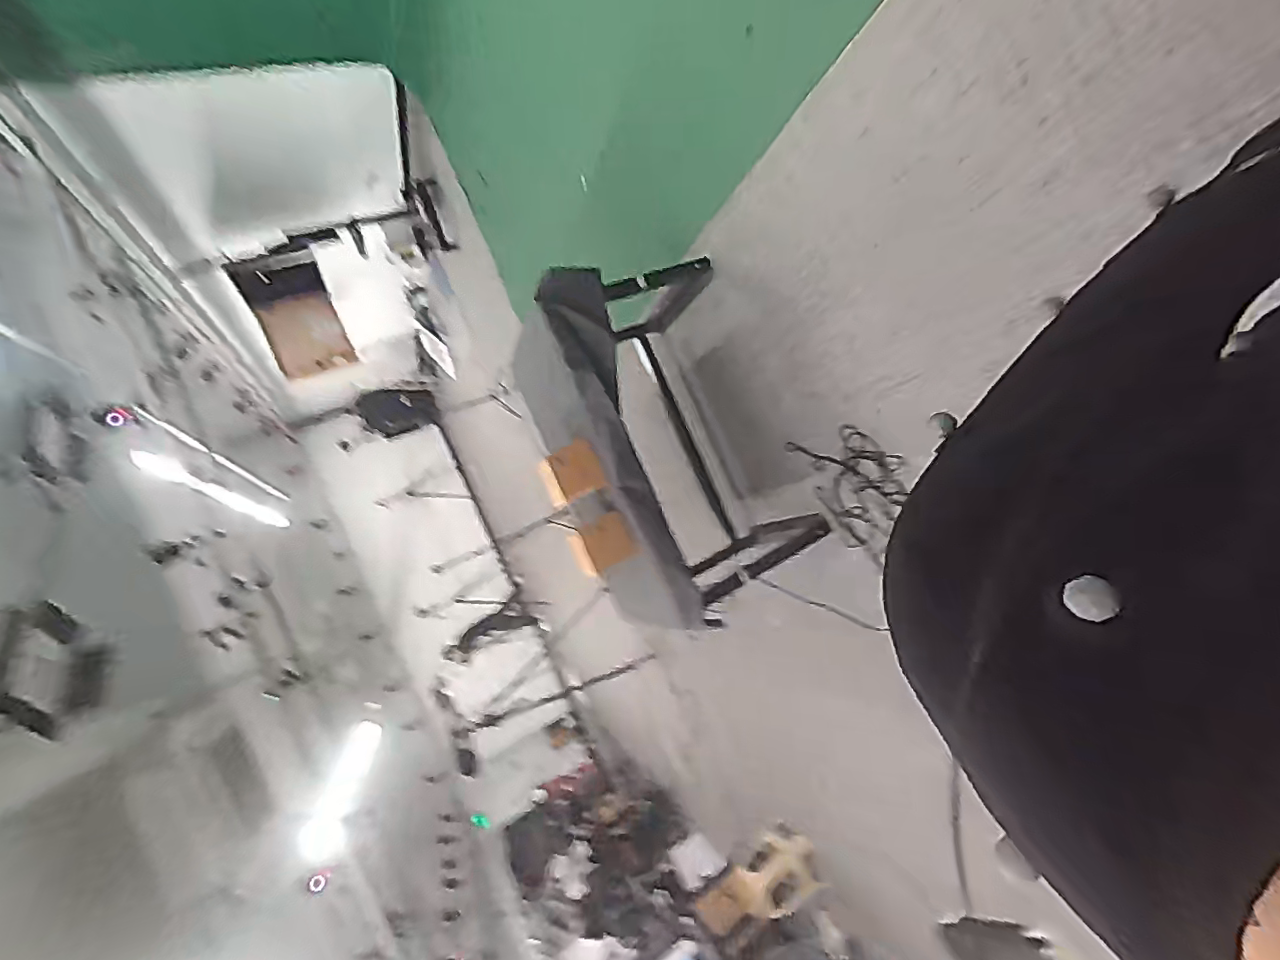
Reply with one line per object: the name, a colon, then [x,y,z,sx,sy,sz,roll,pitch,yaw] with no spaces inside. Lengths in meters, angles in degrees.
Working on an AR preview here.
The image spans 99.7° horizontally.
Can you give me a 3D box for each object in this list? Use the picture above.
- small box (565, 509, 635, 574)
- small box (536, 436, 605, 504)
small box: [-0.142,0.215,1.923,0.179,0.176,0.168,64,158,4]
small box: [-0.245,-0.035,1.908,0.179,0.176,0.168,66,157,2]
